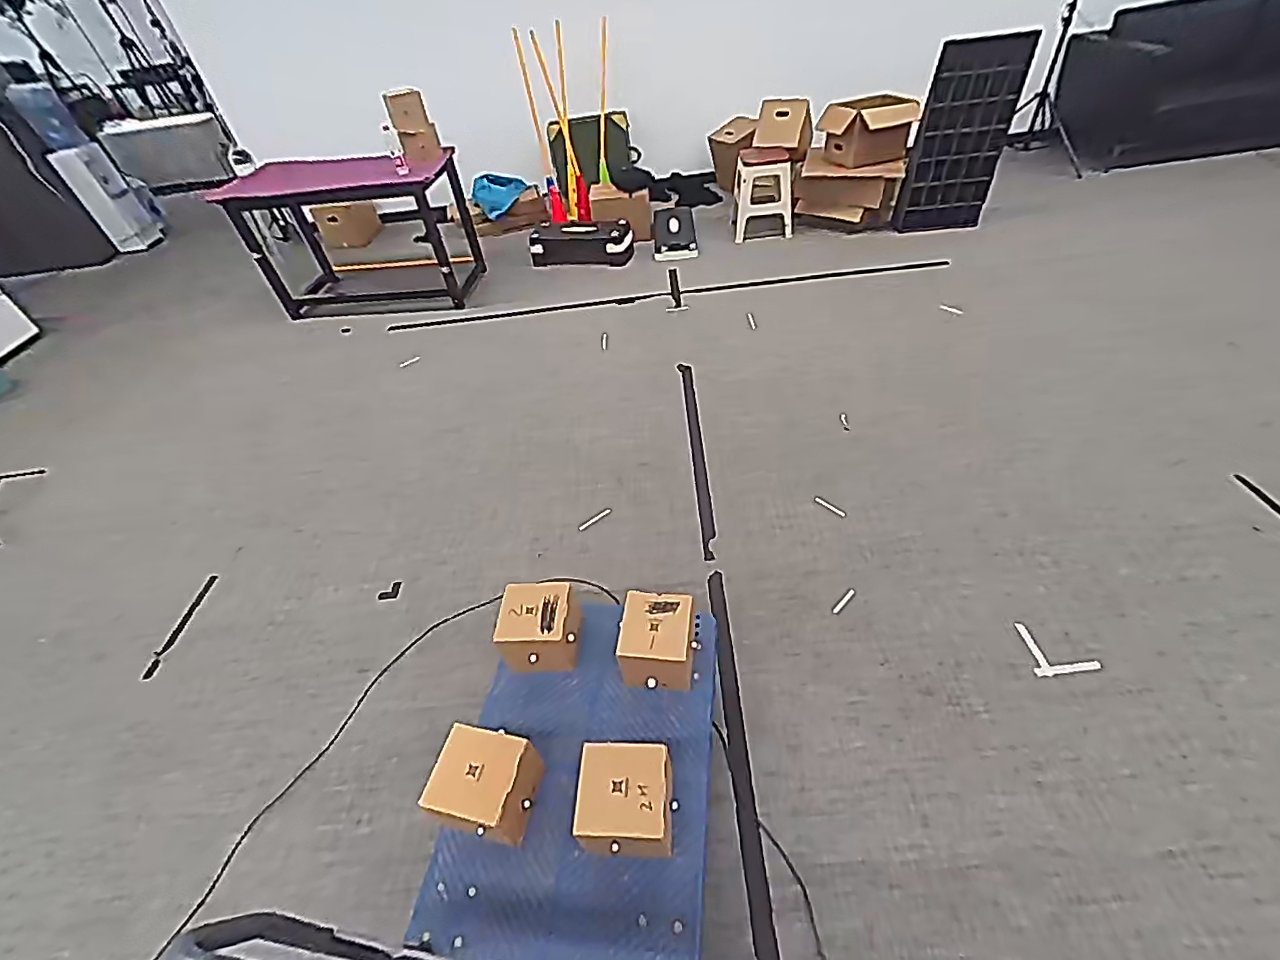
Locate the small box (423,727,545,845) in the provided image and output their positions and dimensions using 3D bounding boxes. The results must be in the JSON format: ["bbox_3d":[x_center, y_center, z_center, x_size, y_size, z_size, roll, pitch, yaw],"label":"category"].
[{"bbox_3d":[-0.325,0.659,1.163,0.179,0.176,0.168,6,46,12],"label":"small box"}]

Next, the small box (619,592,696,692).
[{"bbox_3d":[0.051,0.405,1.352,0.168,0.176,0.179,2,47,11],"label":"small box"}]

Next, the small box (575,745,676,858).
[{"bbox_3d":[-0.022,0.661,1.112,0.179,0.176,0.168,-2,46,7],"label":"small box"}]
